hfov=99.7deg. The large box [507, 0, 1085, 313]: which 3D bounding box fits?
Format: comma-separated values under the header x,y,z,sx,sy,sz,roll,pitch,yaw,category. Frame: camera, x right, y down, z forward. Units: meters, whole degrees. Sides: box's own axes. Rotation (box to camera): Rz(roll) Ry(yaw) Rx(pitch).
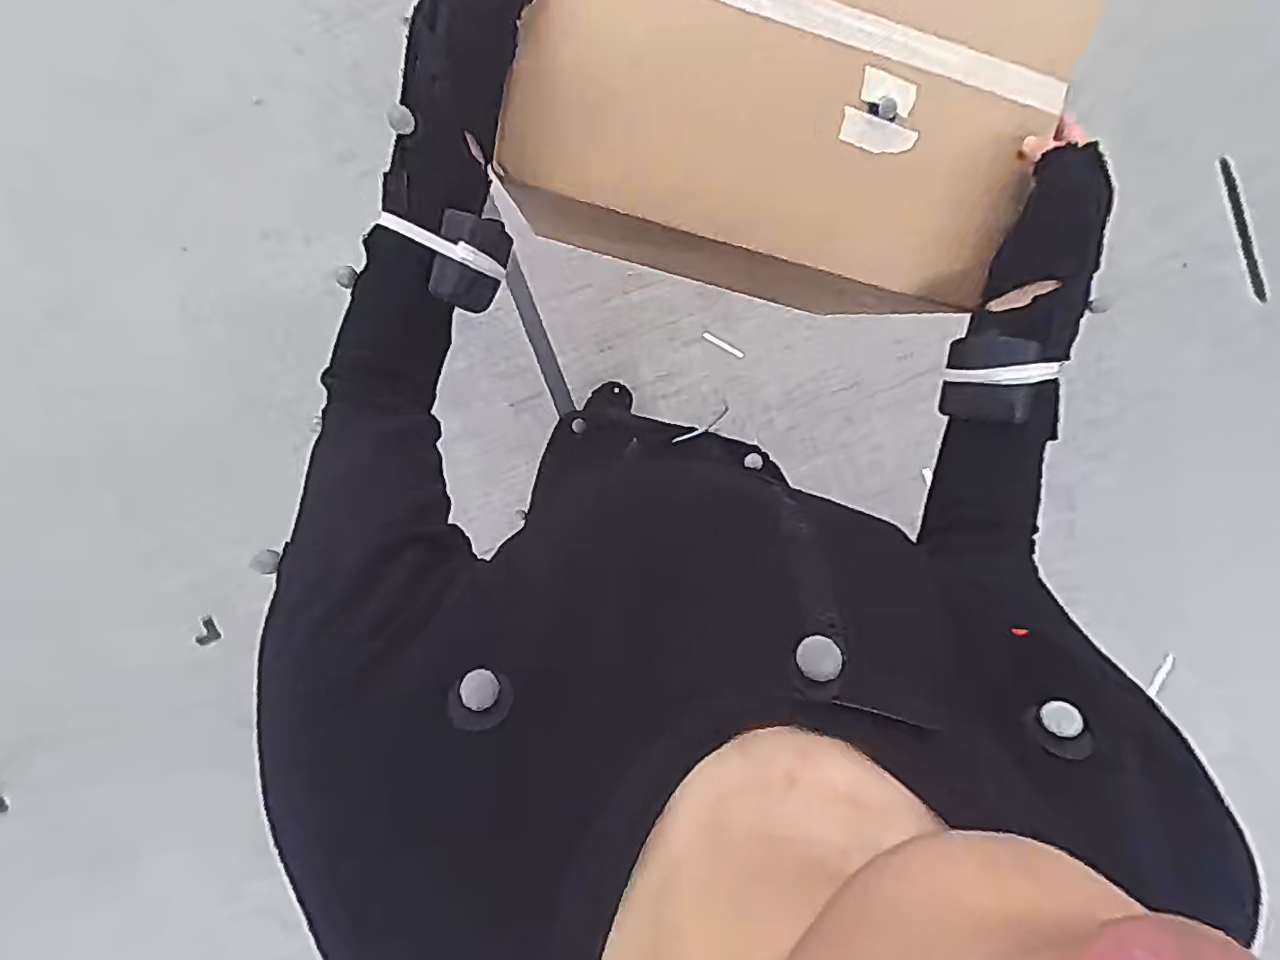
x,y,z,sx,sy,sz,roll,pitch,yaw,category
0.109,-0.373,0.540,0.408,0.320,0.320,13,106,-10,large box
